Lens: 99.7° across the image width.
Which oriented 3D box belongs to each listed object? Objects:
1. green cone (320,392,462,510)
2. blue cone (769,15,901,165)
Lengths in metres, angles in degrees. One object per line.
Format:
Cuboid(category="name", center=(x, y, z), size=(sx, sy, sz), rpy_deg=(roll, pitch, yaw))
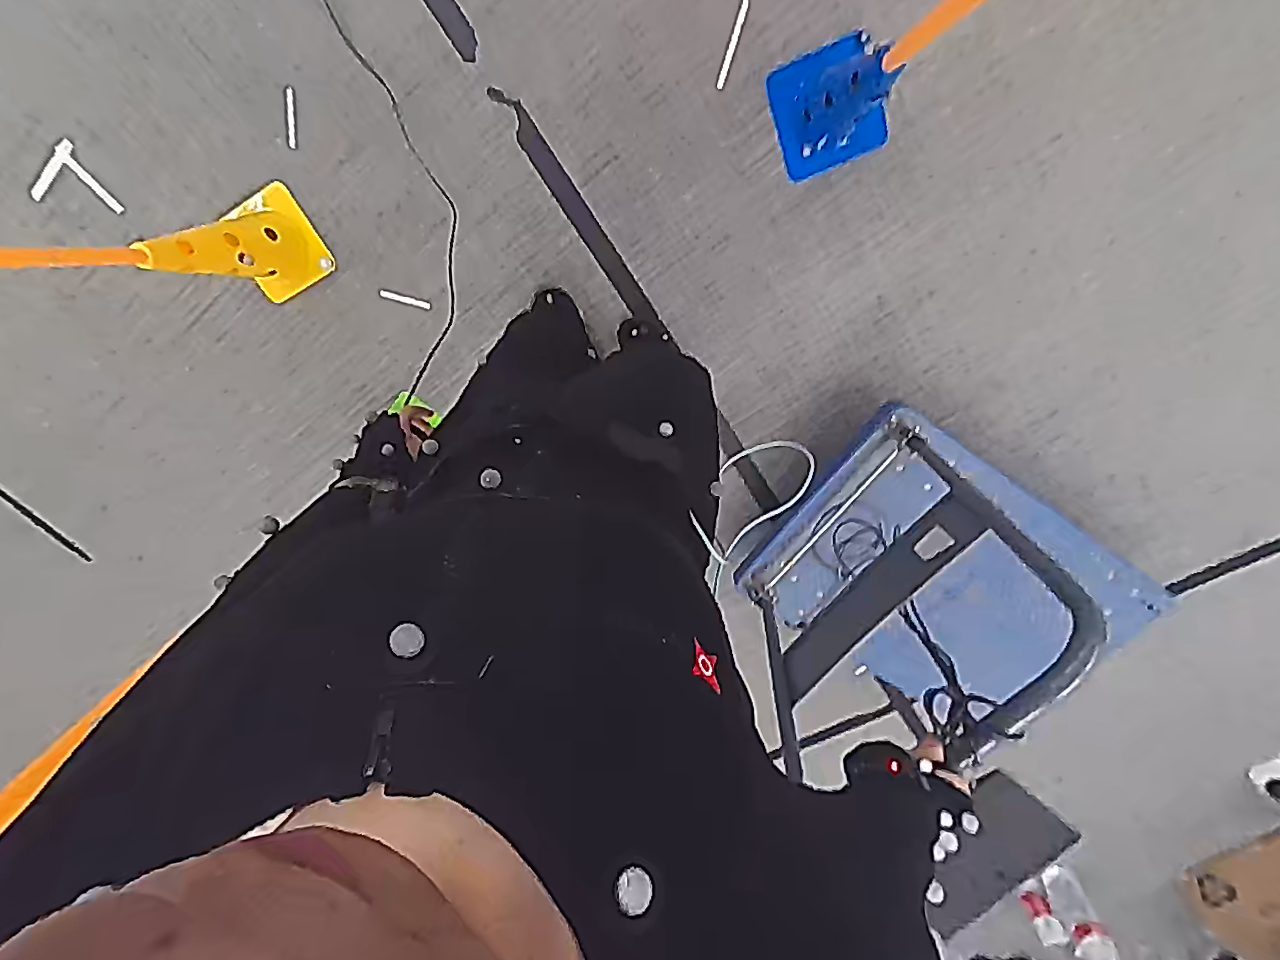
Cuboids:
Cuboid(category="green cone", center=(-0.594, -0.030, 1.230), size=(0.202, 0.368, 0.200), rpy_deg=(40, 112, -12))
Cuboid(category="blue cone", center=(0.344, -0.657, 0.881), size=(0.193, 0.380, 0.192), rpy_deg=(-17, 112, 12))
